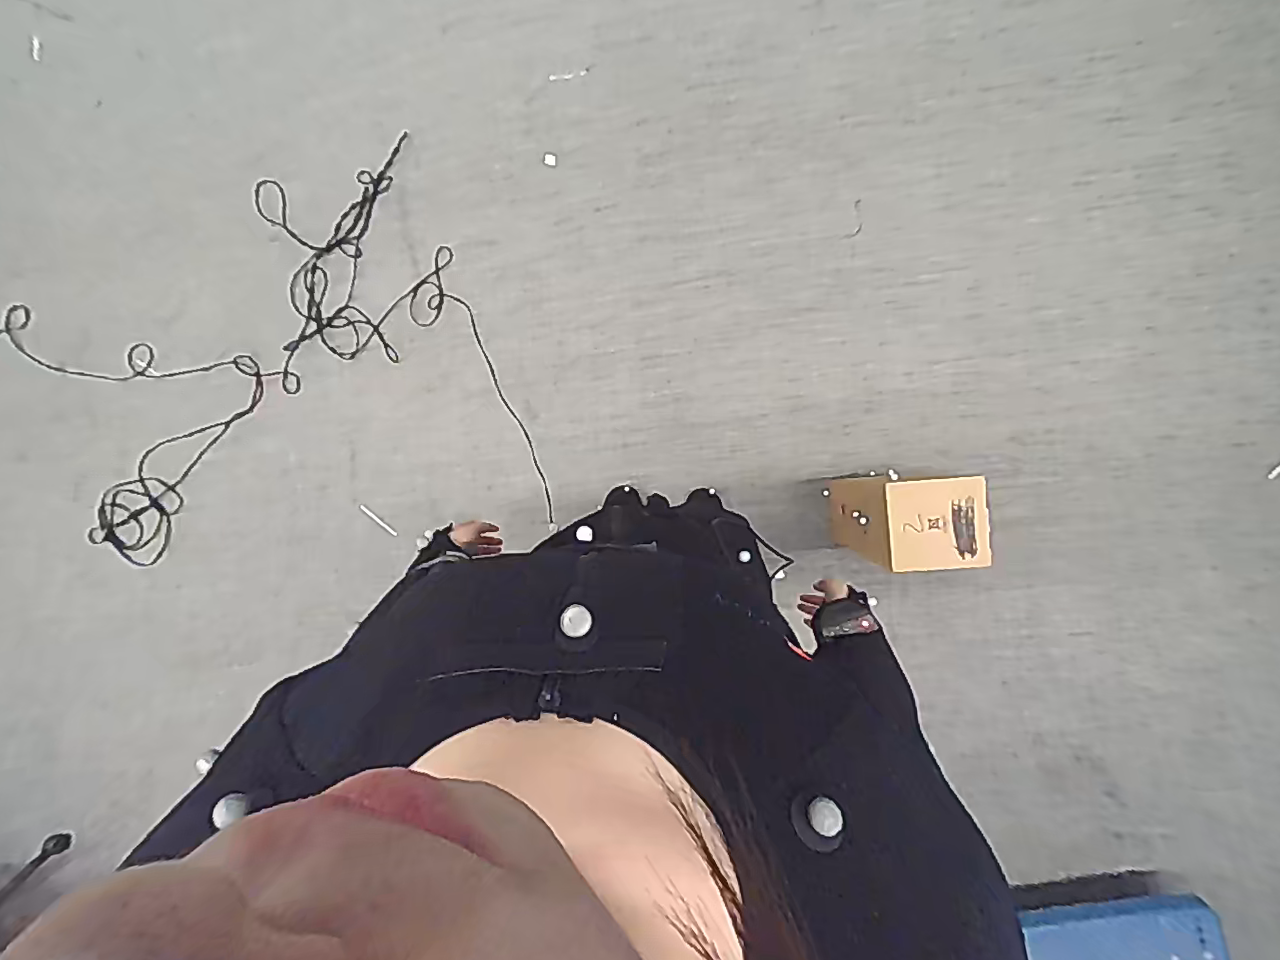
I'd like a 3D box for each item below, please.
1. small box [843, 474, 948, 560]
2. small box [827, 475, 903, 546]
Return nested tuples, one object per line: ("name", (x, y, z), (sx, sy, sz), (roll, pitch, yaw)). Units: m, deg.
("small box", (0.566, 0.079, 1.218), (0.168, 0.176, 0.179), (-4, 90, 6))
("small box", (0.587, 0.075, 1.381), (0.179, 0.176, 0.168), (-5, 90, 5))
